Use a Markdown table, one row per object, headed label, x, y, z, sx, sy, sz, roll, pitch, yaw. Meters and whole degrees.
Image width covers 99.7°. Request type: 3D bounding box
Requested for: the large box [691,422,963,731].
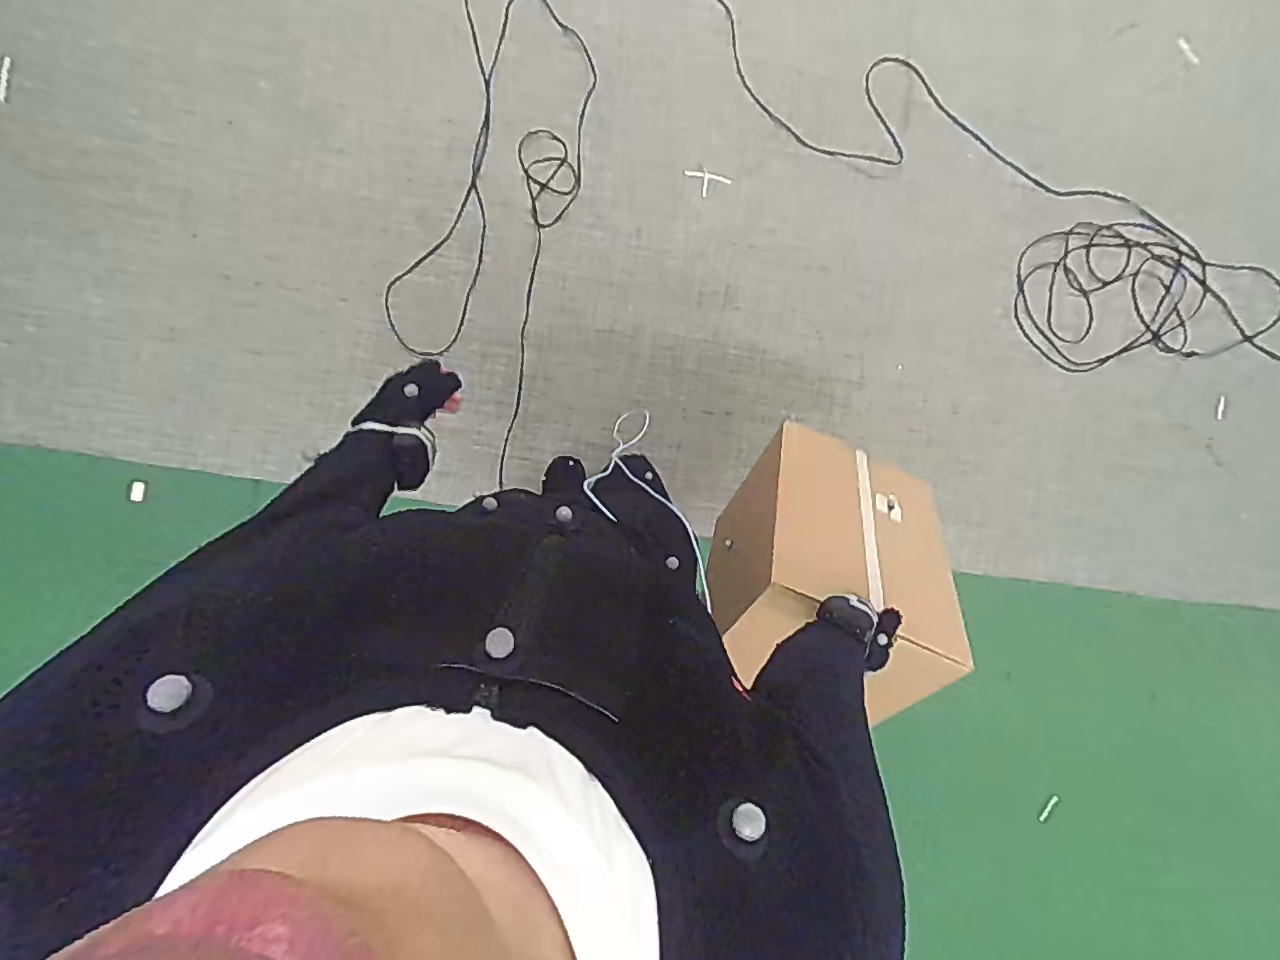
| label | x | y | z | sx | sy | sz | roll | pitch | yaw |
| --- | --- | --- | --- | --- | --- | --- | --- | --- | --- |
| large box | 0.315 | 0.173 | 0.998 | 0.320 | 0.408 | 0.320 | 24 | 133 | -4 |
